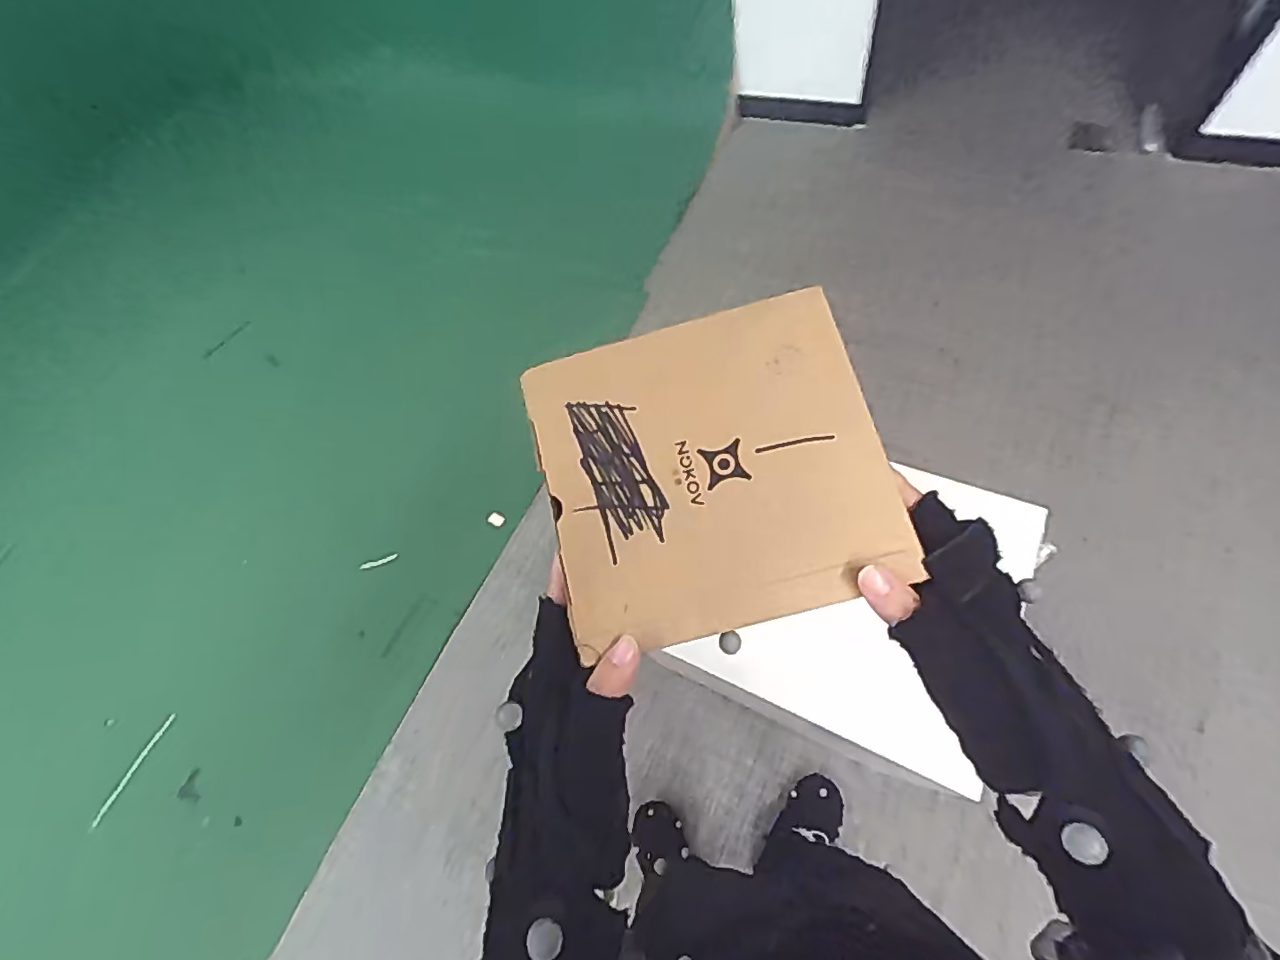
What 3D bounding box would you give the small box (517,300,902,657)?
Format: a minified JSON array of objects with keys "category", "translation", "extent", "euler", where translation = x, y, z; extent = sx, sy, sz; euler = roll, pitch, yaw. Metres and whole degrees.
[{"category":"small box","translation":[0.039,0.015,0.368],"extent":[0.179,0.176,0.168],"euler":[-16,75,3]}]
